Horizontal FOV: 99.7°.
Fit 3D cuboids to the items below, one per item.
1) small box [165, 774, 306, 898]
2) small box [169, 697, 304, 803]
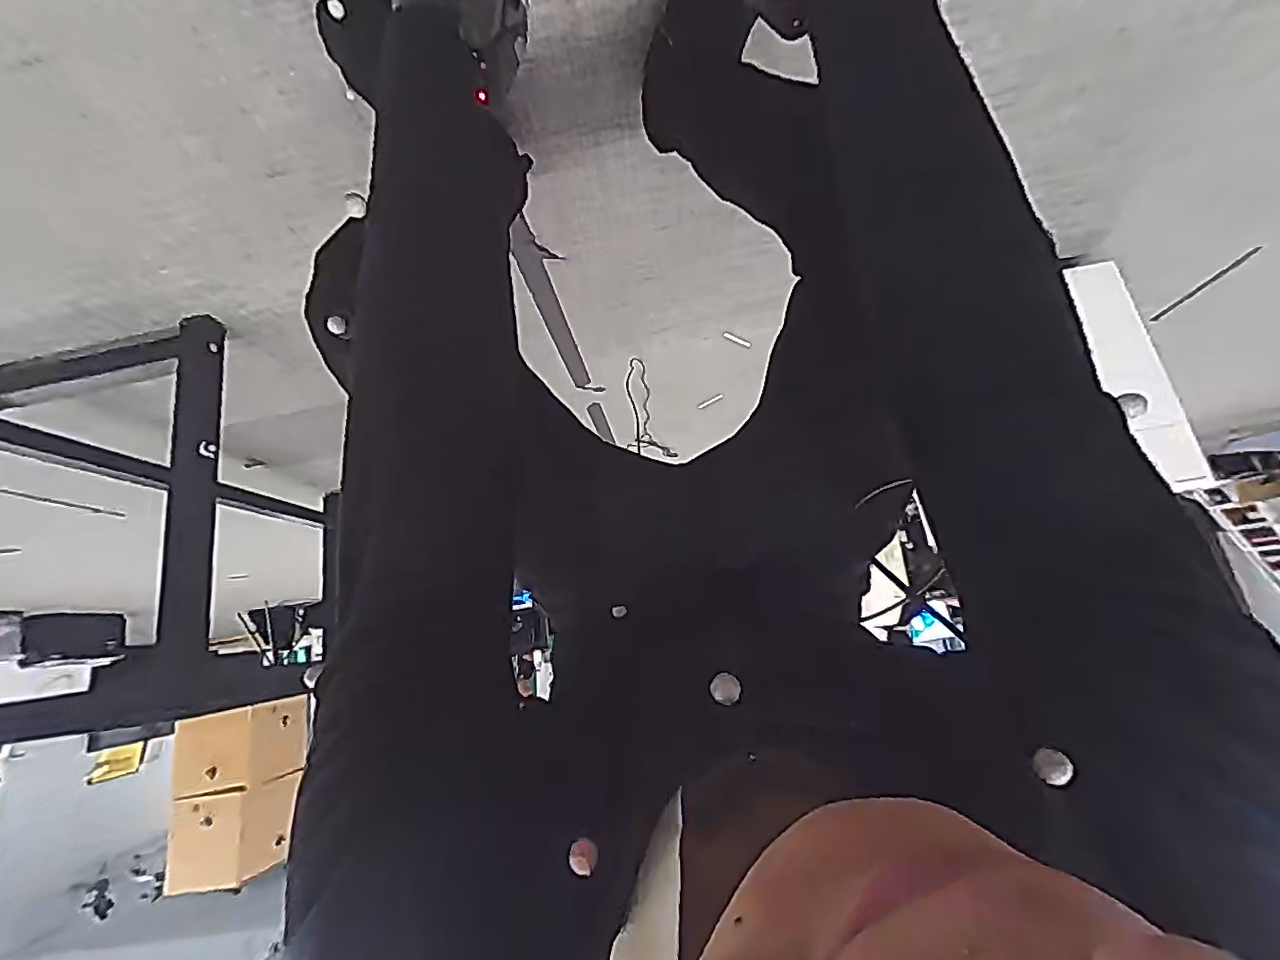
[{"bbox_3d":[-0.829,0.729,1.127,0.168,0.176,0.179,-11,163,7],"label":"small box"},{"bbox_3d":[-0.860,0.574,1.172,0.179,0.176,0.168,-10,164,4],"label":"small box"}]
